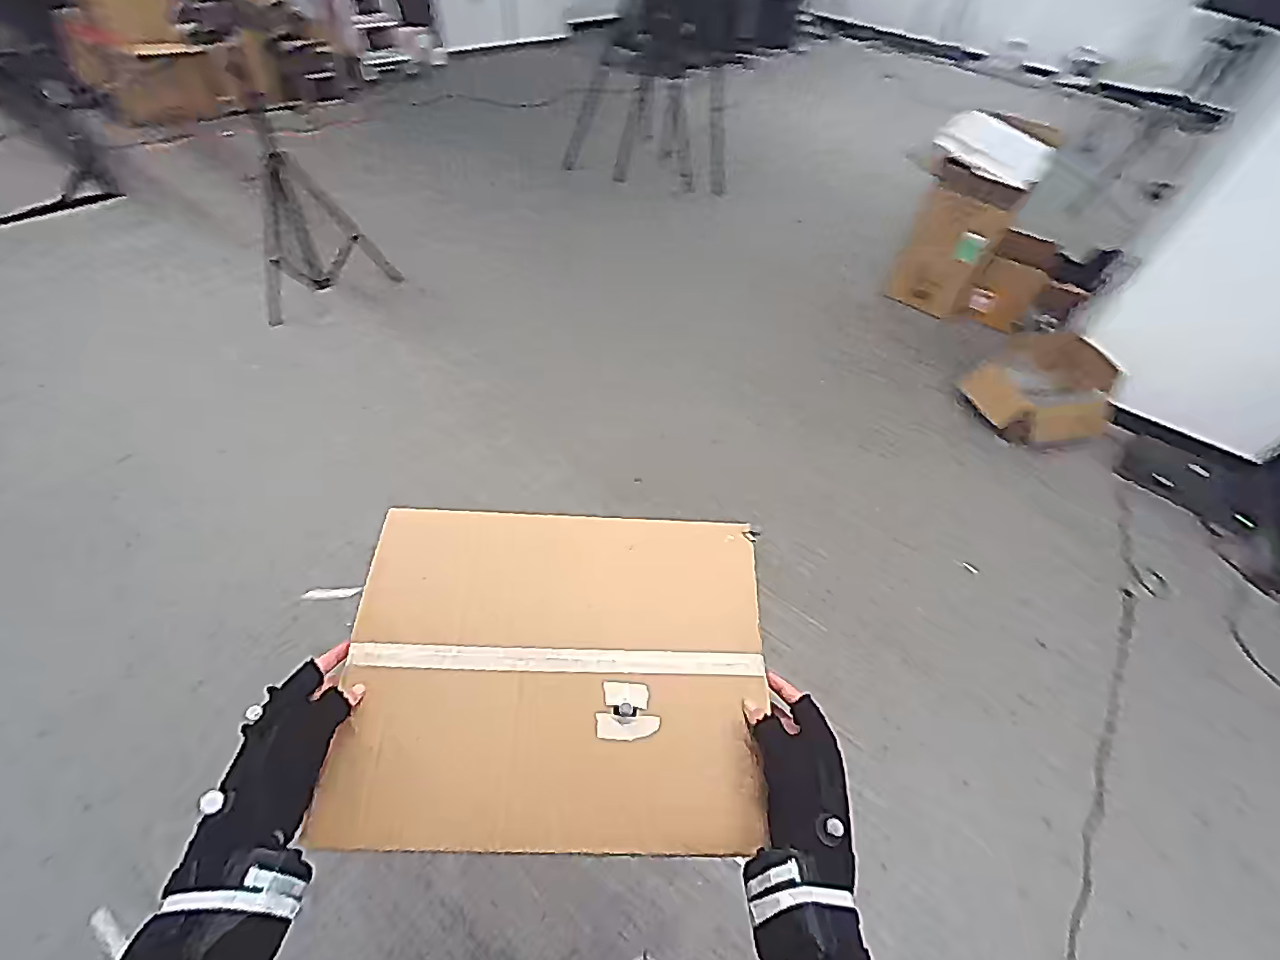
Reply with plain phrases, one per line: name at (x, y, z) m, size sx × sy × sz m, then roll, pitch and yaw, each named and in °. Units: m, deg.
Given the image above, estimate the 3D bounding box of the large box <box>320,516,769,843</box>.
large box at (-0.094, 0.254, 0.677) m, size 0.408 × 0.320 × 0.320 m, roll 2°, pitch 61°, yaw -4°
